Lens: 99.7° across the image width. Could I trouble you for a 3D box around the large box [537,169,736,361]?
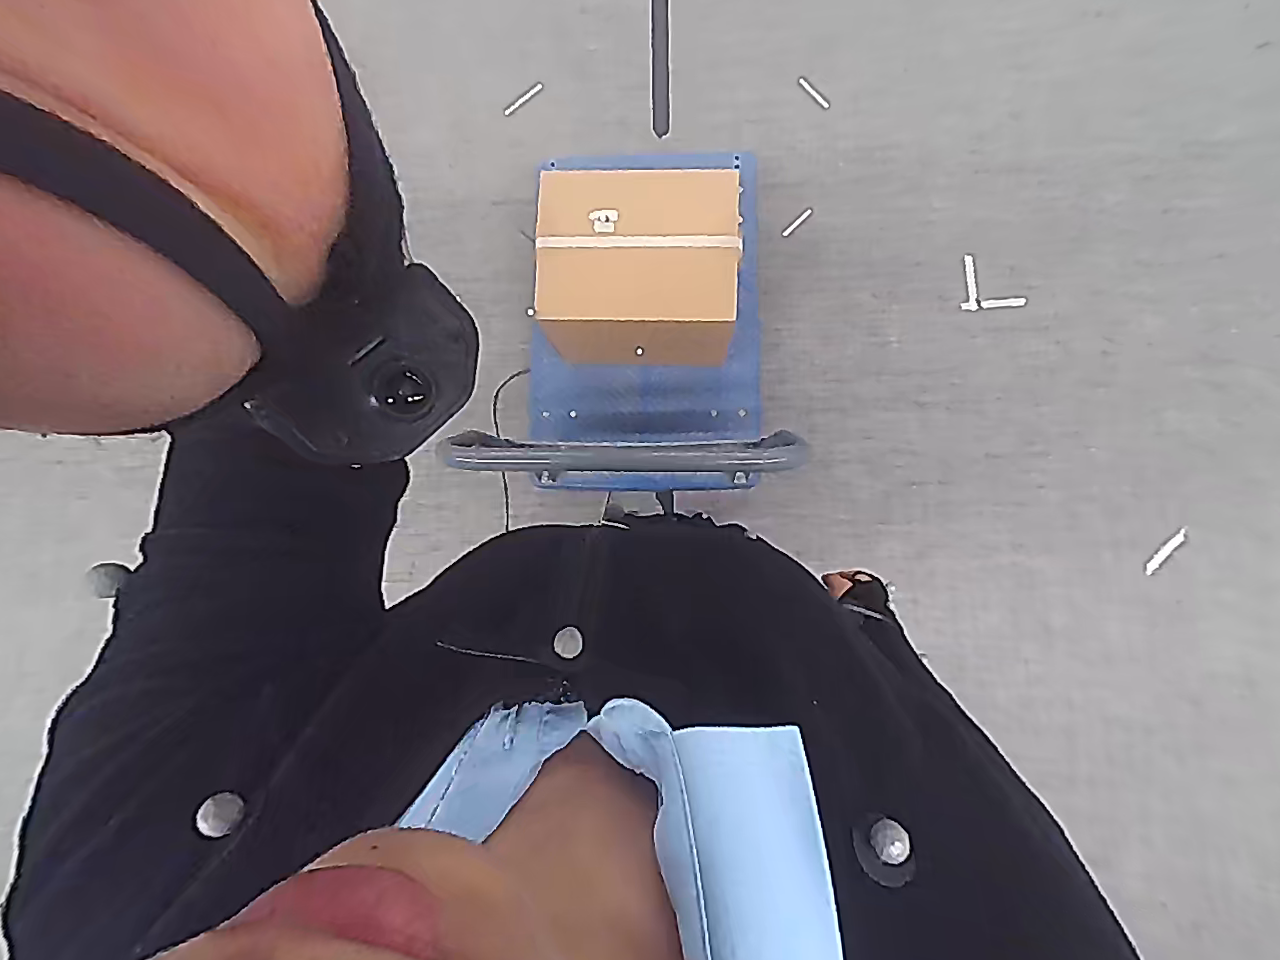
[{"bbox_3d":[0.005,-0.464,1.237,0.408,0.320,0.320,1,85,4],"label":"large box"}]
